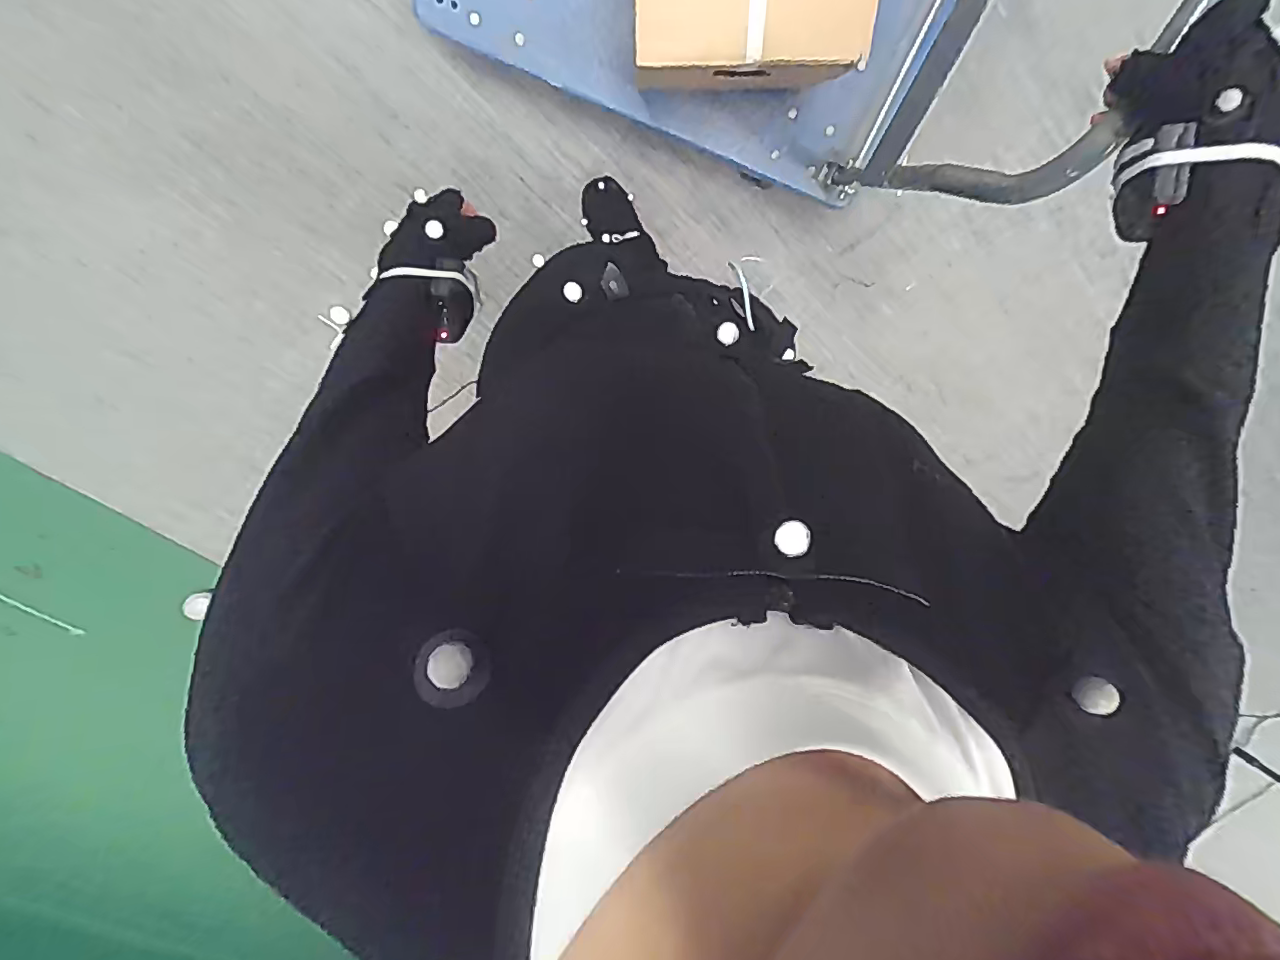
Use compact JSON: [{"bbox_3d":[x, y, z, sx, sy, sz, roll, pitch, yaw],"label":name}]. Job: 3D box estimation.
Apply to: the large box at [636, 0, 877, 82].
[{"bbox_3d":[0.147,-0.811,0.745,0.320,0.320,0.408,0,122,1],"label":"large box"}]
